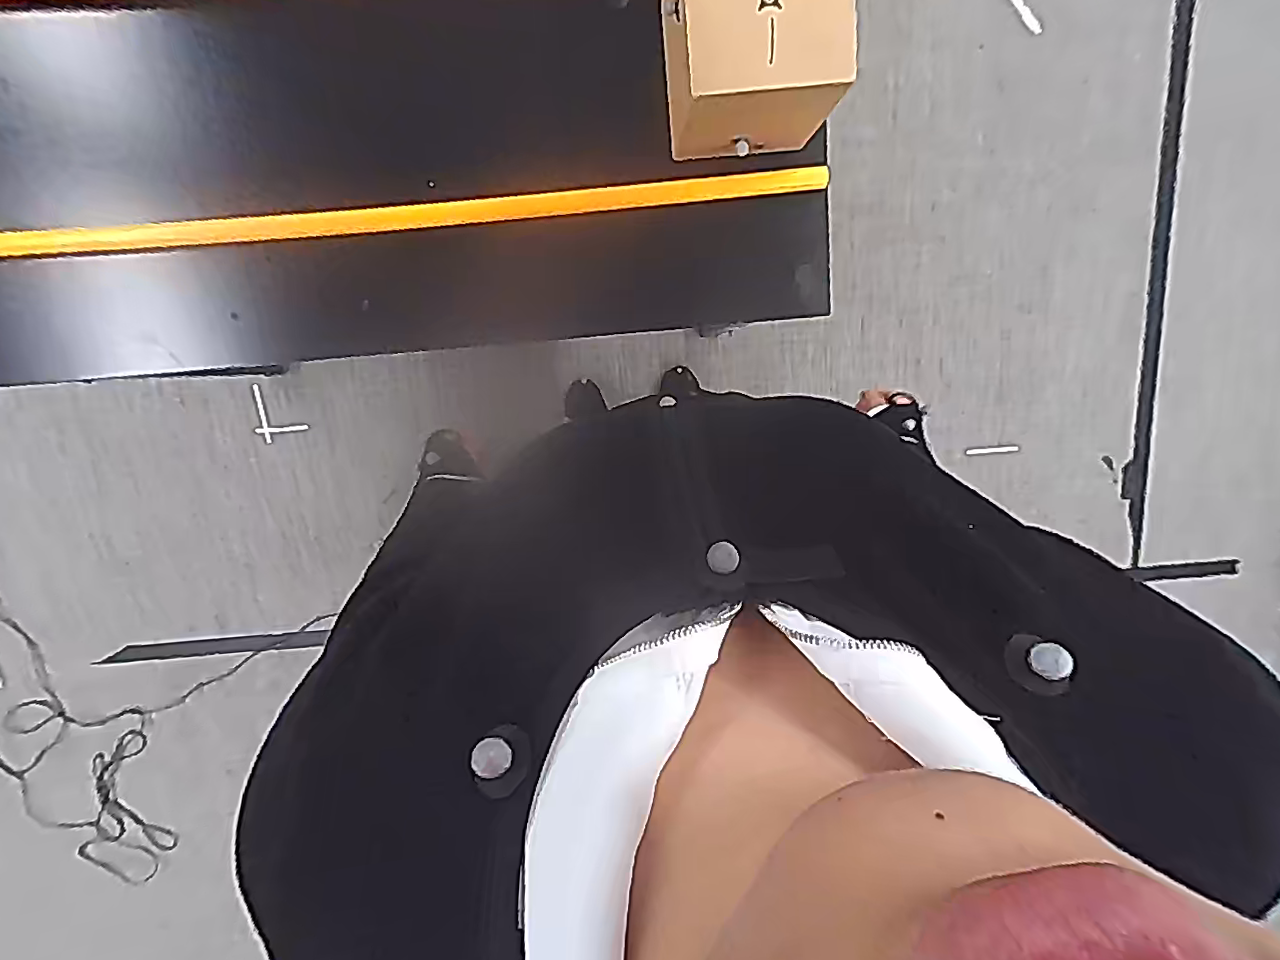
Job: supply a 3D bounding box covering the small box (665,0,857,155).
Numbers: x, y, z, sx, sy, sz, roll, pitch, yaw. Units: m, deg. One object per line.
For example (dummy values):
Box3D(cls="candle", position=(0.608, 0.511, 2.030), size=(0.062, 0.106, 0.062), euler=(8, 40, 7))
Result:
Box3D(cls="small box", position=(0.121, -0.487, 0.591), size=(0.168, 0.176, 0.179), euler=(-6, 102, -1))
